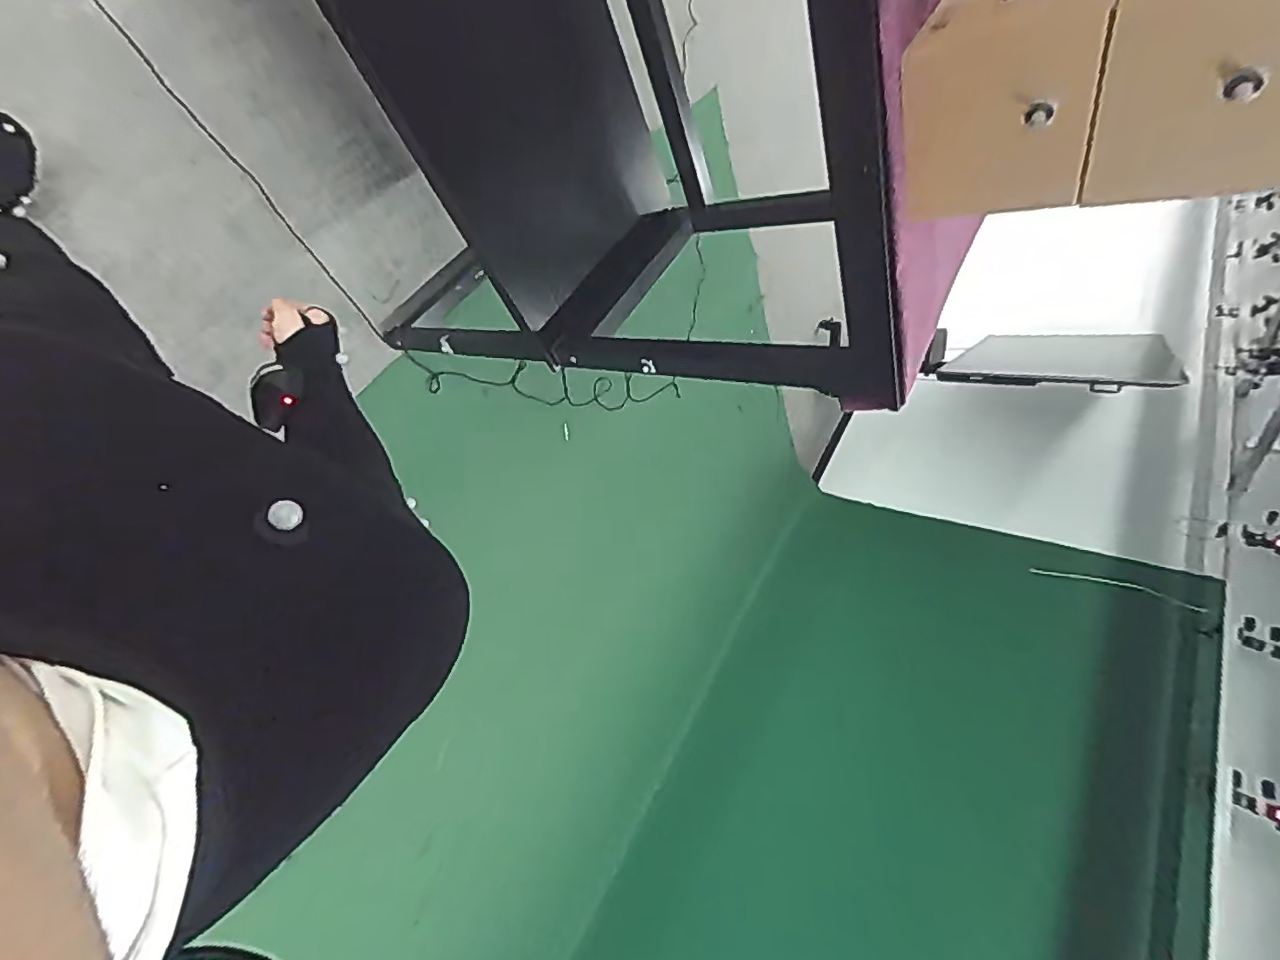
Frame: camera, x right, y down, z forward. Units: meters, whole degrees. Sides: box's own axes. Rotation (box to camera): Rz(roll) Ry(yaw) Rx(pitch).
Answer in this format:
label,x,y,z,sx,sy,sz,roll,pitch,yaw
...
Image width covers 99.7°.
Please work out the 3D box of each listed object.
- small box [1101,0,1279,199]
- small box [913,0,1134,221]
label,x,y,z,sx,sy,sz,roll,pitch,yaw
small box,0.527,-0.370,0.472,0.168,0.176,0.179,-56,137,-24
small box,0.399,-0.402,0.570,0.168,0.176,0.179,-55,137,-25
